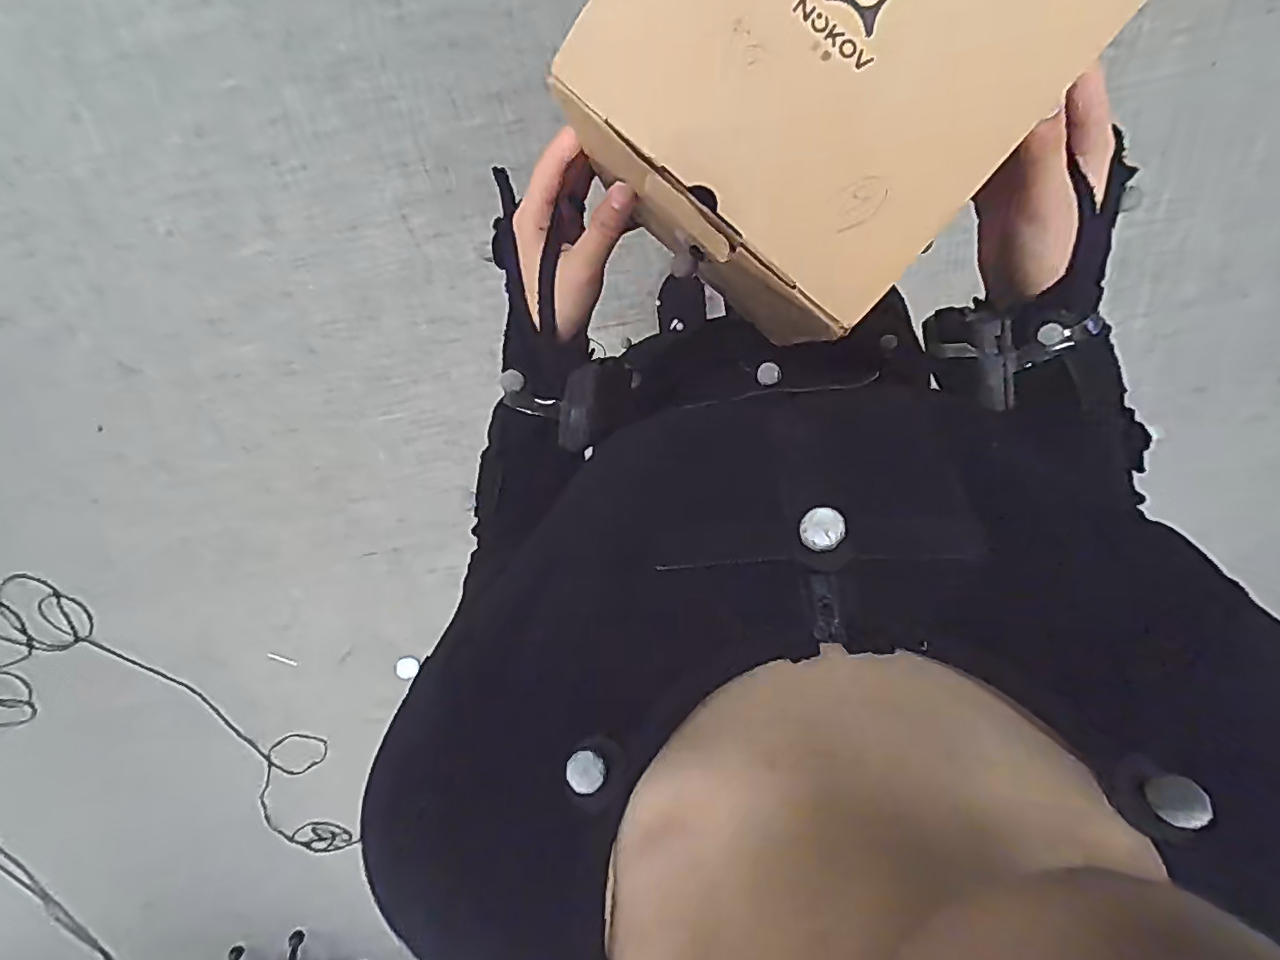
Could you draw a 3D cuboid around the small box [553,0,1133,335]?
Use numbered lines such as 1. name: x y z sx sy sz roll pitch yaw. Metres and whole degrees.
1. small box: 0.086 -0.195 0.292 0.168 0.176 0.179 39 104 -3
